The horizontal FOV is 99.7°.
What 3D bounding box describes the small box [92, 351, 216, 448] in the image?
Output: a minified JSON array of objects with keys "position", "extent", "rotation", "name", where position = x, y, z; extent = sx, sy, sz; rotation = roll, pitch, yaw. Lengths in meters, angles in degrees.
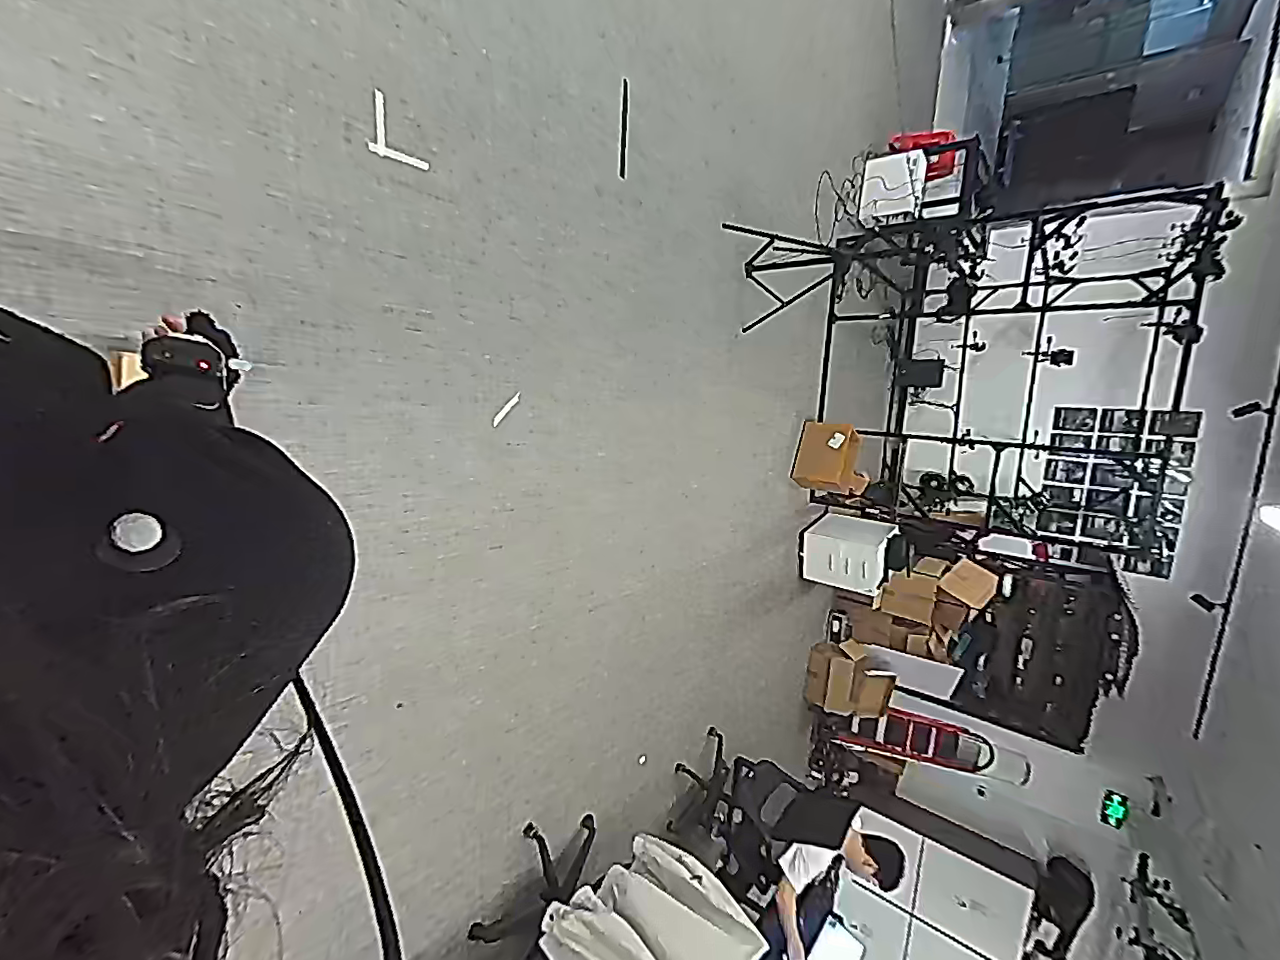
[{"position":[-0.994,-0.163,1.105],"extent":[0.168,0.176,0.179],"rotation":[-2,100,-52],"name":"small box"}]
